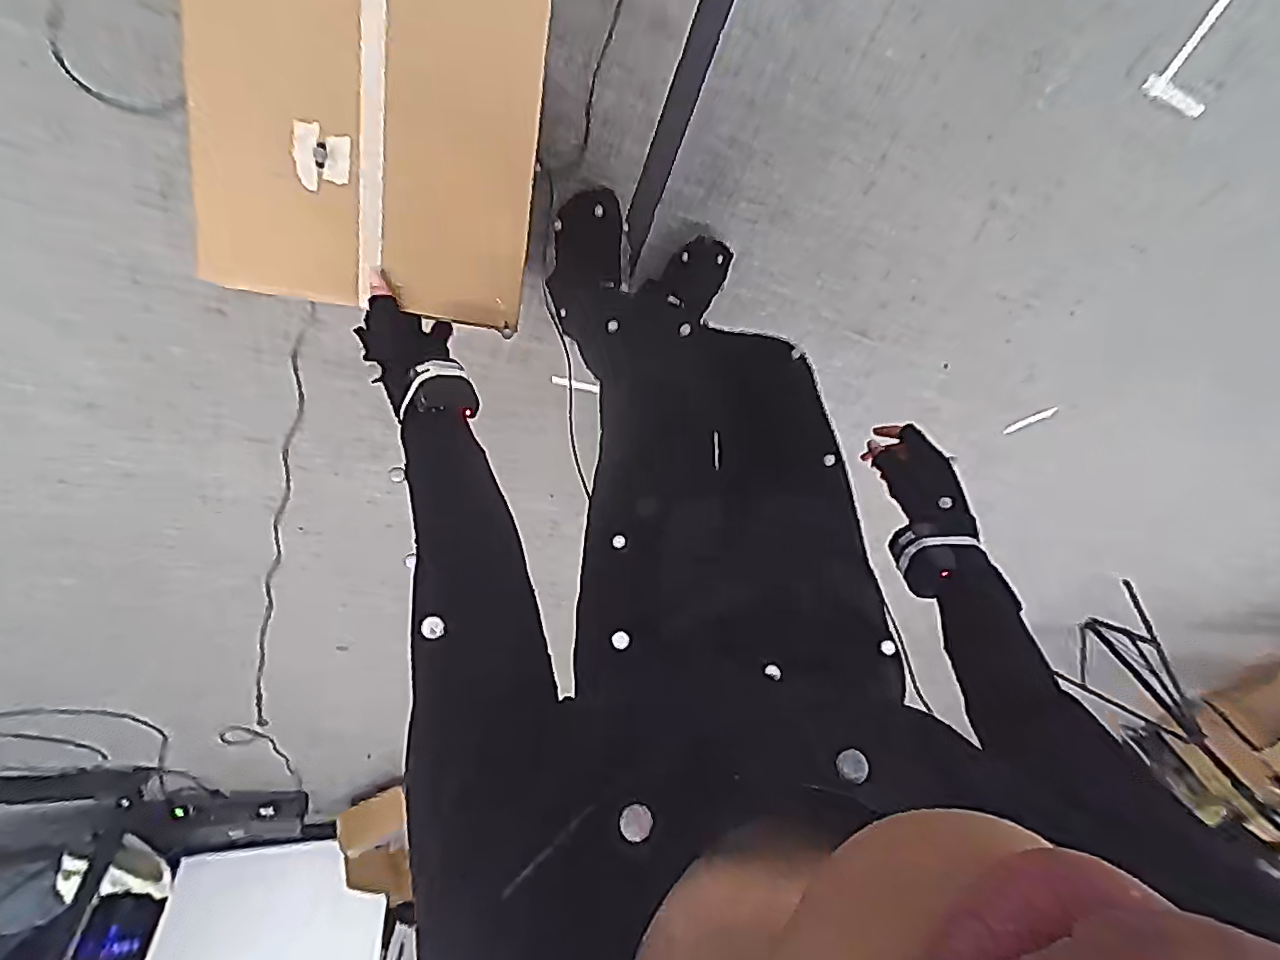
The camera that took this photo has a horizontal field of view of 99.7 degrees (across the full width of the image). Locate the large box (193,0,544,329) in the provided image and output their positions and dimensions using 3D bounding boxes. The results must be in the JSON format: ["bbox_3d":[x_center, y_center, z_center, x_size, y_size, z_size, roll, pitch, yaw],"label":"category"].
[{"bbox_3d":[-0.304,-0.422,0.681,0.320,0.320,0.408,4,106,-17],"label":"large box"}]
